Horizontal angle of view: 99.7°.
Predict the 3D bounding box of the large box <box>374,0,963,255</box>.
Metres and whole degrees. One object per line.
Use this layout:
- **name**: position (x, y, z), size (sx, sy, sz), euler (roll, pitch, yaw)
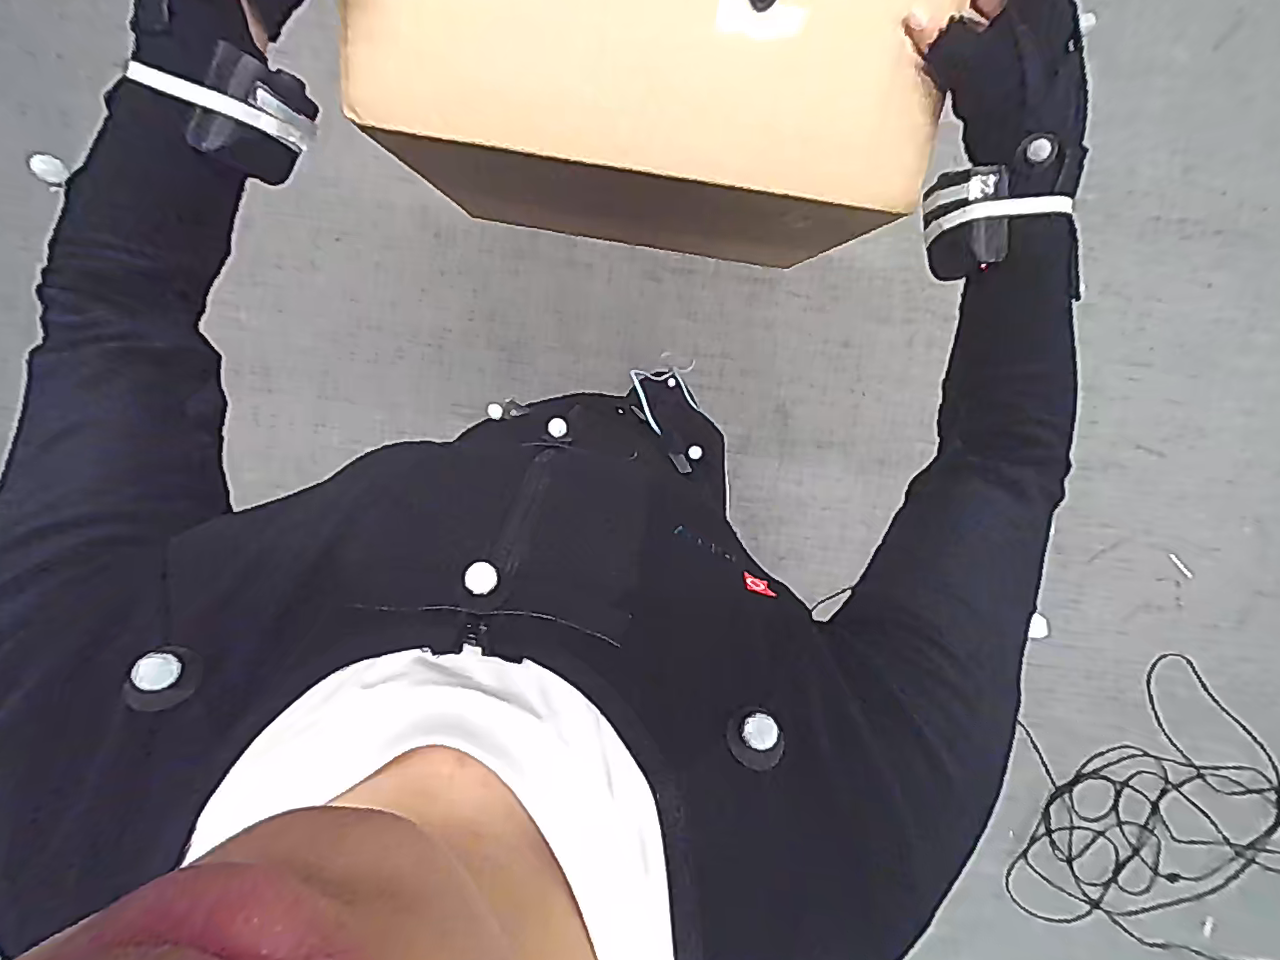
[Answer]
- **large box**: position (0.023, -0.416, 0.496), size (0.408, 0.320, 0.320), euler (7, 105, -4)
